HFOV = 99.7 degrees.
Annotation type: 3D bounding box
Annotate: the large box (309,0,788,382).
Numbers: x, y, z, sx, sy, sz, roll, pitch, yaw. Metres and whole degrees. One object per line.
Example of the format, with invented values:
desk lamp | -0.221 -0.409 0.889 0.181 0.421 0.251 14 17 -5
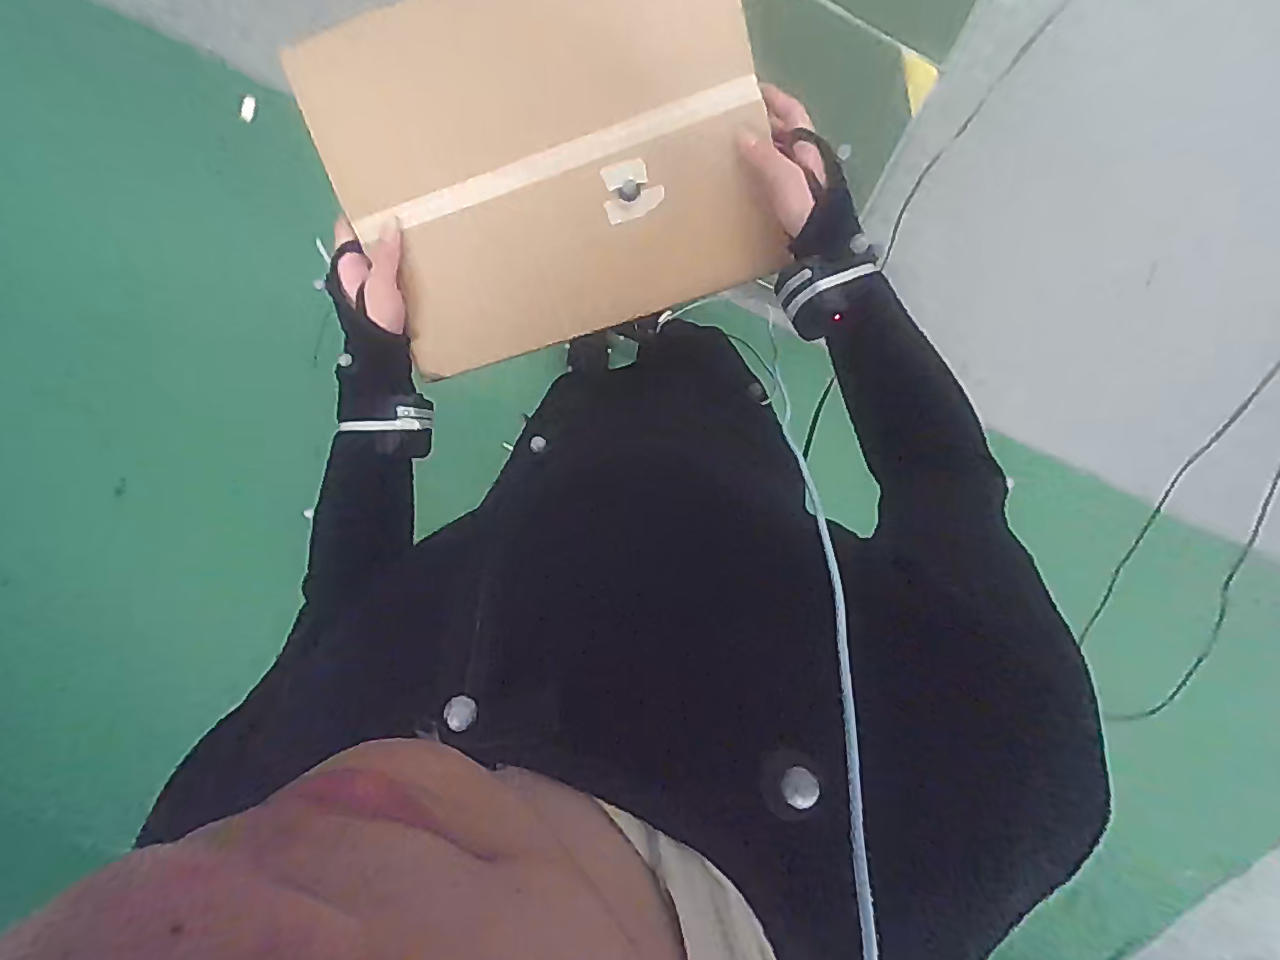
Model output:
large box | -0.079 -0.343 0.666 0.408 0.320 0.320 -15 108 6
